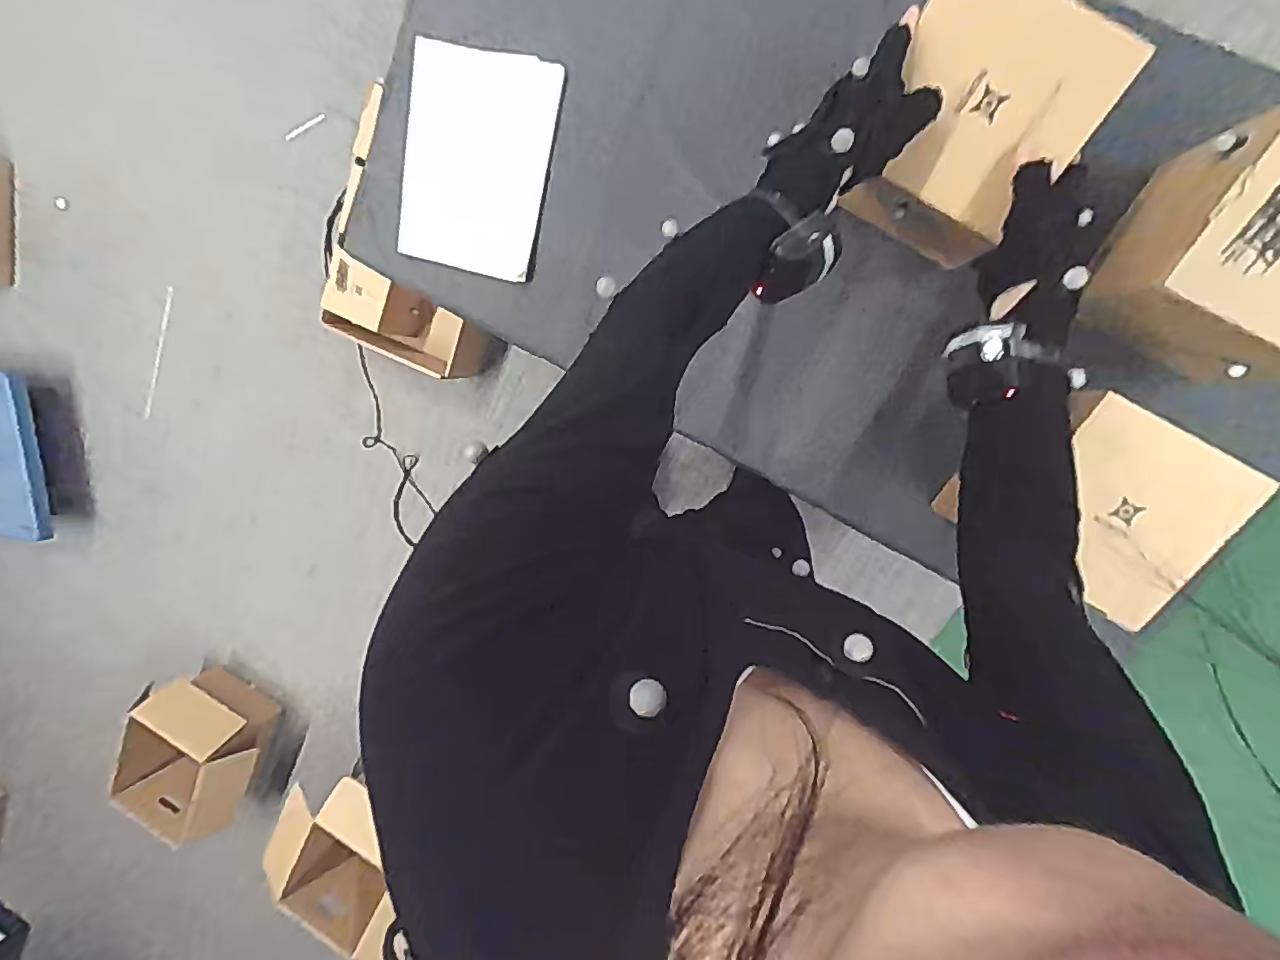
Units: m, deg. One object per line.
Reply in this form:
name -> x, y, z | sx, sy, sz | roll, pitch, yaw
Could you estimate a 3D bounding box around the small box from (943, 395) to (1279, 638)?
small box -> 0.462, 0.023, 0.572 | 0.168, 0.176, 0.179 | 32, 104, 5
